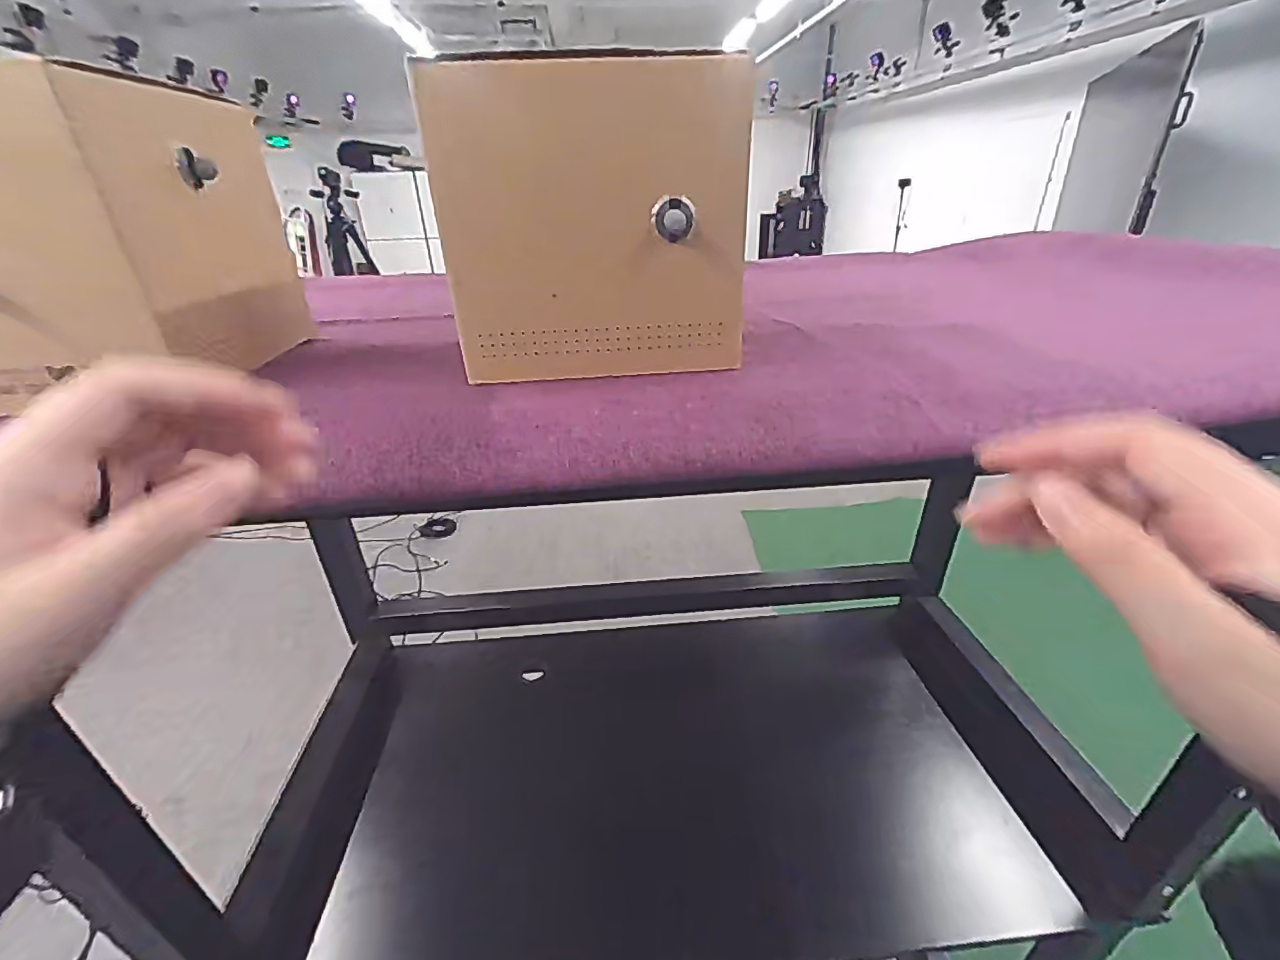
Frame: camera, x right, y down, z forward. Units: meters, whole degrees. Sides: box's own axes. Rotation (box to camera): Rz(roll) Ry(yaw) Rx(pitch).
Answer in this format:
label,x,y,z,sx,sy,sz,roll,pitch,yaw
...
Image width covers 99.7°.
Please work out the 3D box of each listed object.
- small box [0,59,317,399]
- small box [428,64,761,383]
label,x,y,z,sx,sy,sz,roll,pitch,yaw
small box,-0.346,-0.156,0.356,0.168,0.176,0.179,-3,28,-5
small box,-0.027,-0.175,0.386,0.179,0.176,0.168,-5,28,-4
